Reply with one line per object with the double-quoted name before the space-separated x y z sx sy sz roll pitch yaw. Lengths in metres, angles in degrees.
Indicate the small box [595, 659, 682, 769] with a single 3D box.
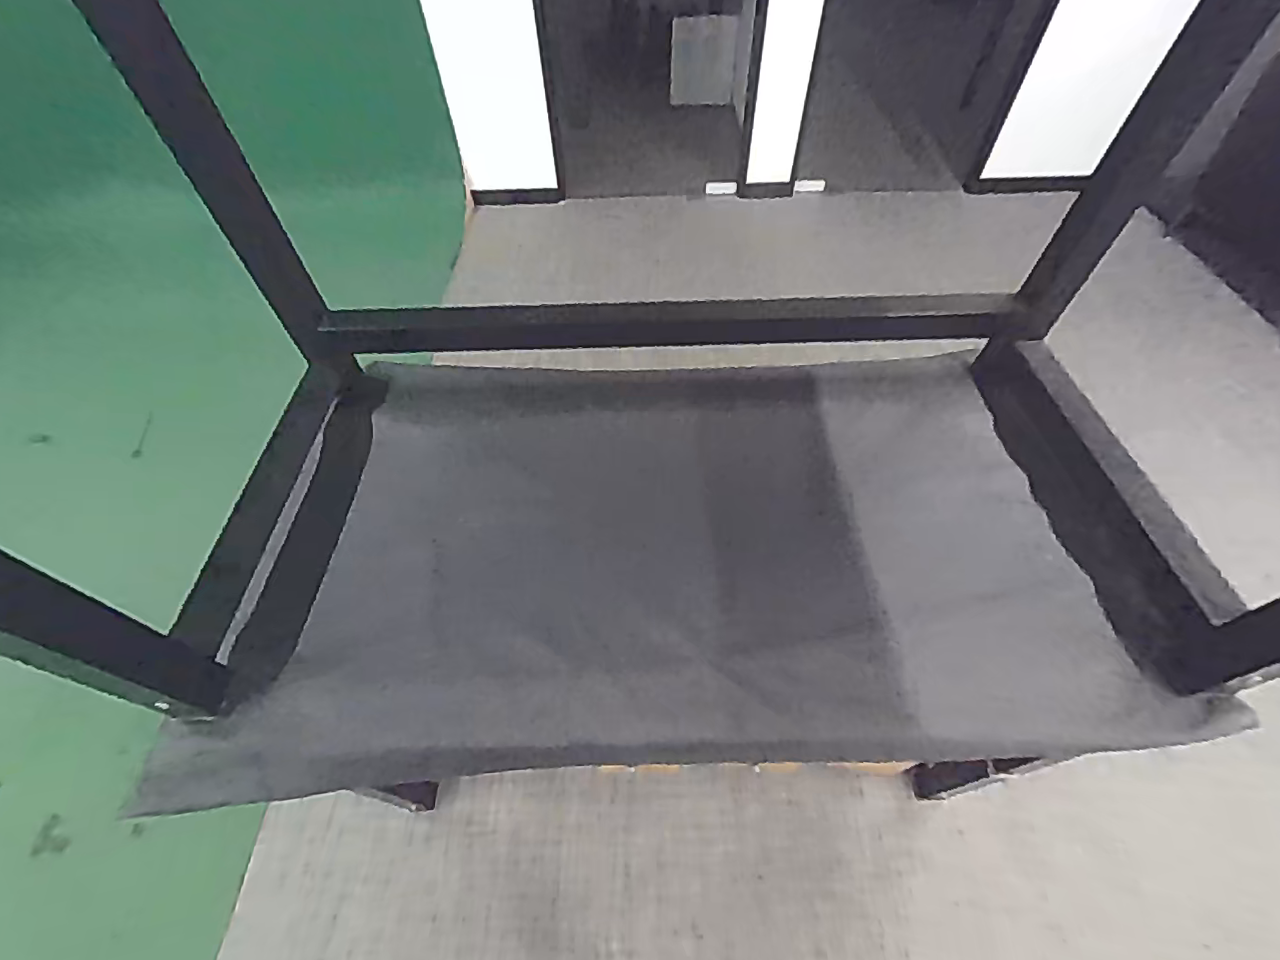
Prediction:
"small box" 0.000 0.487 1.122 0.168 0.176 0.179 1 55 1
